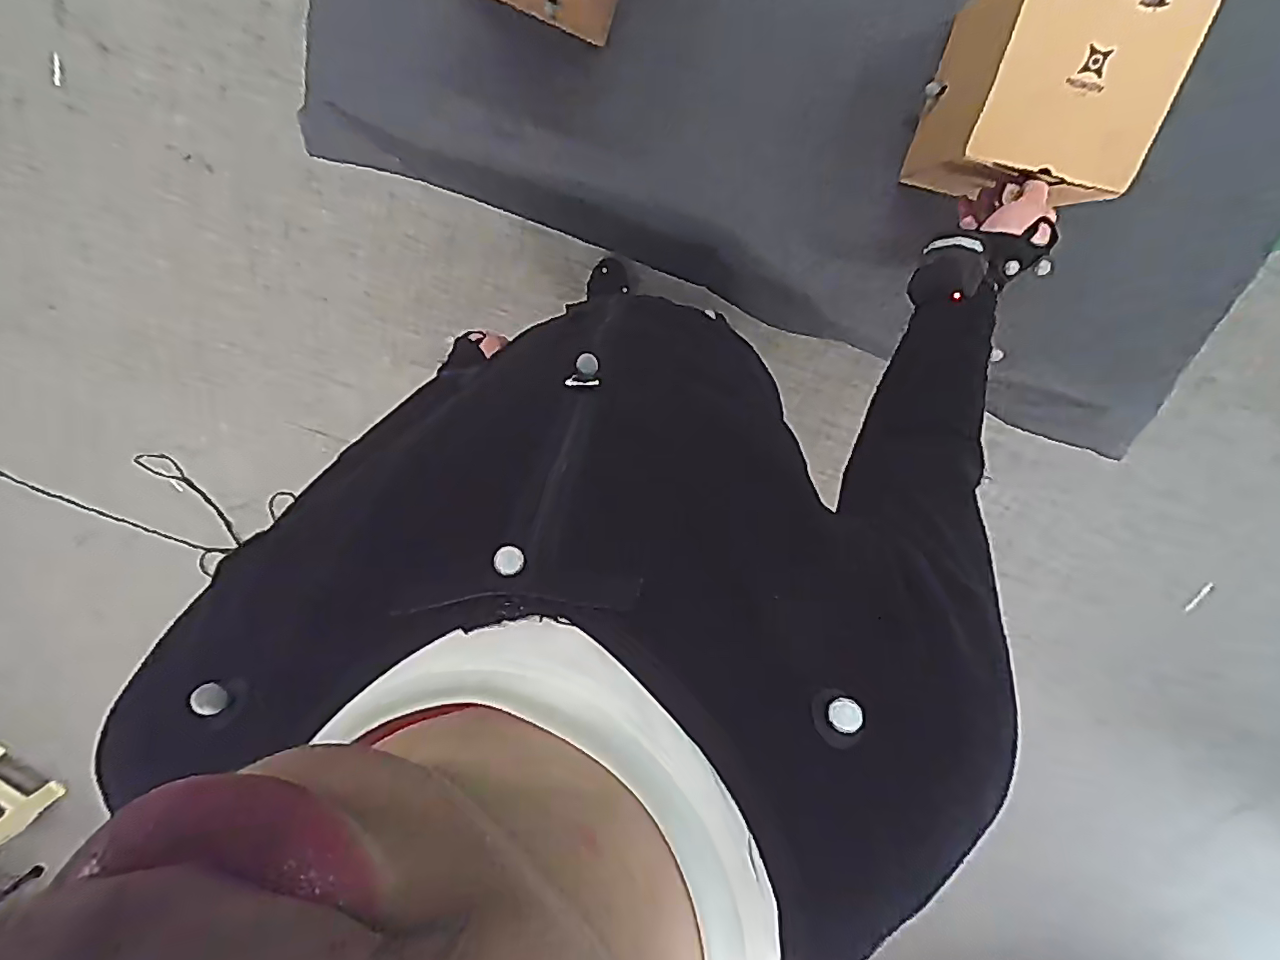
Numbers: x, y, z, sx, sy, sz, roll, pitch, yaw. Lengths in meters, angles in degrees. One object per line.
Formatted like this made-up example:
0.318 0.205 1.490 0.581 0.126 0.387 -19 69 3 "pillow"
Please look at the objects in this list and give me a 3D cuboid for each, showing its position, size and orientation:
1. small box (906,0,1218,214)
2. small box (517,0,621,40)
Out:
0.416 -0.399 0.578 0.168 0.176 0.179 13 112 -2 "small box"
-0.085 -0.589 0.533 0.168 0.176 0.179 21 110 -7 "small box"
